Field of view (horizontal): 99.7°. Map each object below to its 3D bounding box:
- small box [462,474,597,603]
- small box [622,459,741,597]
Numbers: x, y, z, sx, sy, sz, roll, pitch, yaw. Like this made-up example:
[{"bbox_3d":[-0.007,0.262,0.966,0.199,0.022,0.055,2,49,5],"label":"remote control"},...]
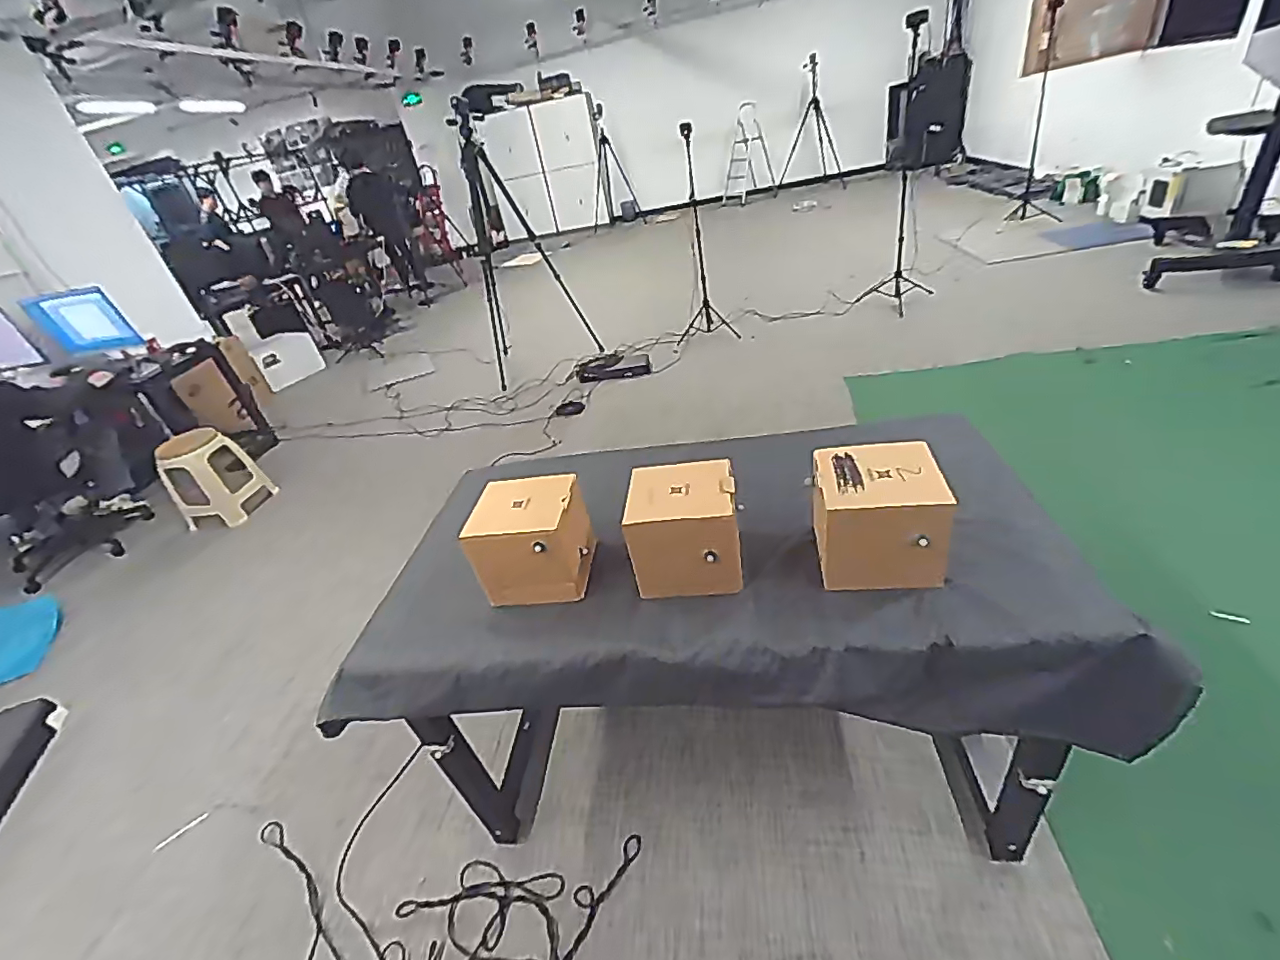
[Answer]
[{"bbox_3d":[-0.193,0.110,0.995,0.179,0.176,0.168,-6,33,10],"label":"small box"},{"bbox_3d":[0.081,0.084,0.937,0.179,0.176,0.168,-7,32,12],"label":"small box"}]
